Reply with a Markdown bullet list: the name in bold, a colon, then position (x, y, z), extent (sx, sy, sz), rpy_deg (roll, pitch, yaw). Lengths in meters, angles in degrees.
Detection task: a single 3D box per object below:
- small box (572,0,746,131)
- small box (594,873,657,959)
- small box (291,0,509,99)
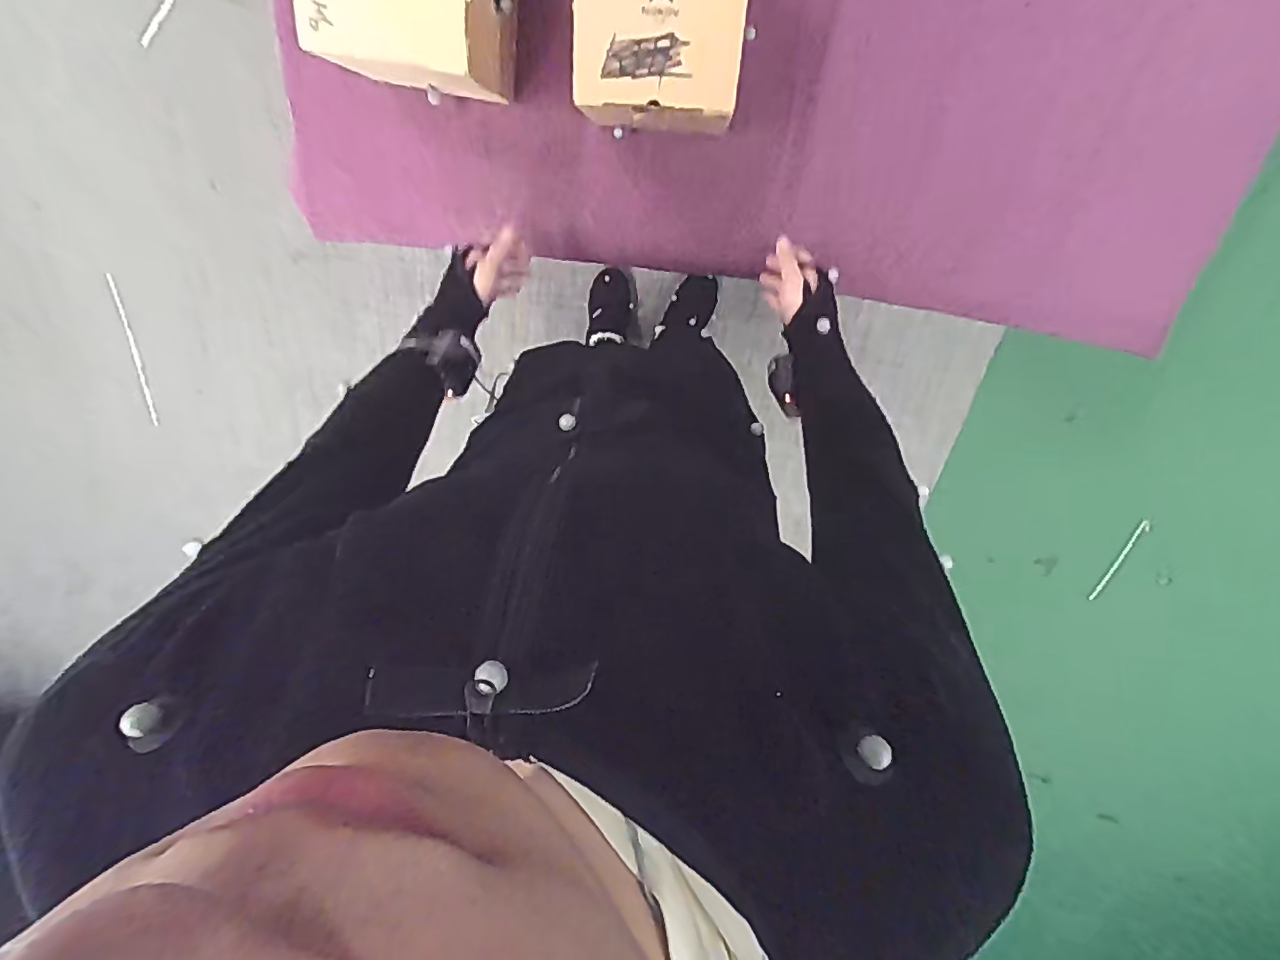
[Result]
- **small box**: position (0.024, -0.485, 0.573), extent (0.168, 0.176, 0.179), rpy_deg (5, 116, 1)
- **small box**: position (-0.040, 1.374, 1.688), extent (0.168, 0.176, 0.179), rpy_deg (10, 118, -1)
- **small box**: position (-0.240, -0.523, 0.573), extent (0.179, 0.176, 0.168), rpy_deg (9, 117, -2)
